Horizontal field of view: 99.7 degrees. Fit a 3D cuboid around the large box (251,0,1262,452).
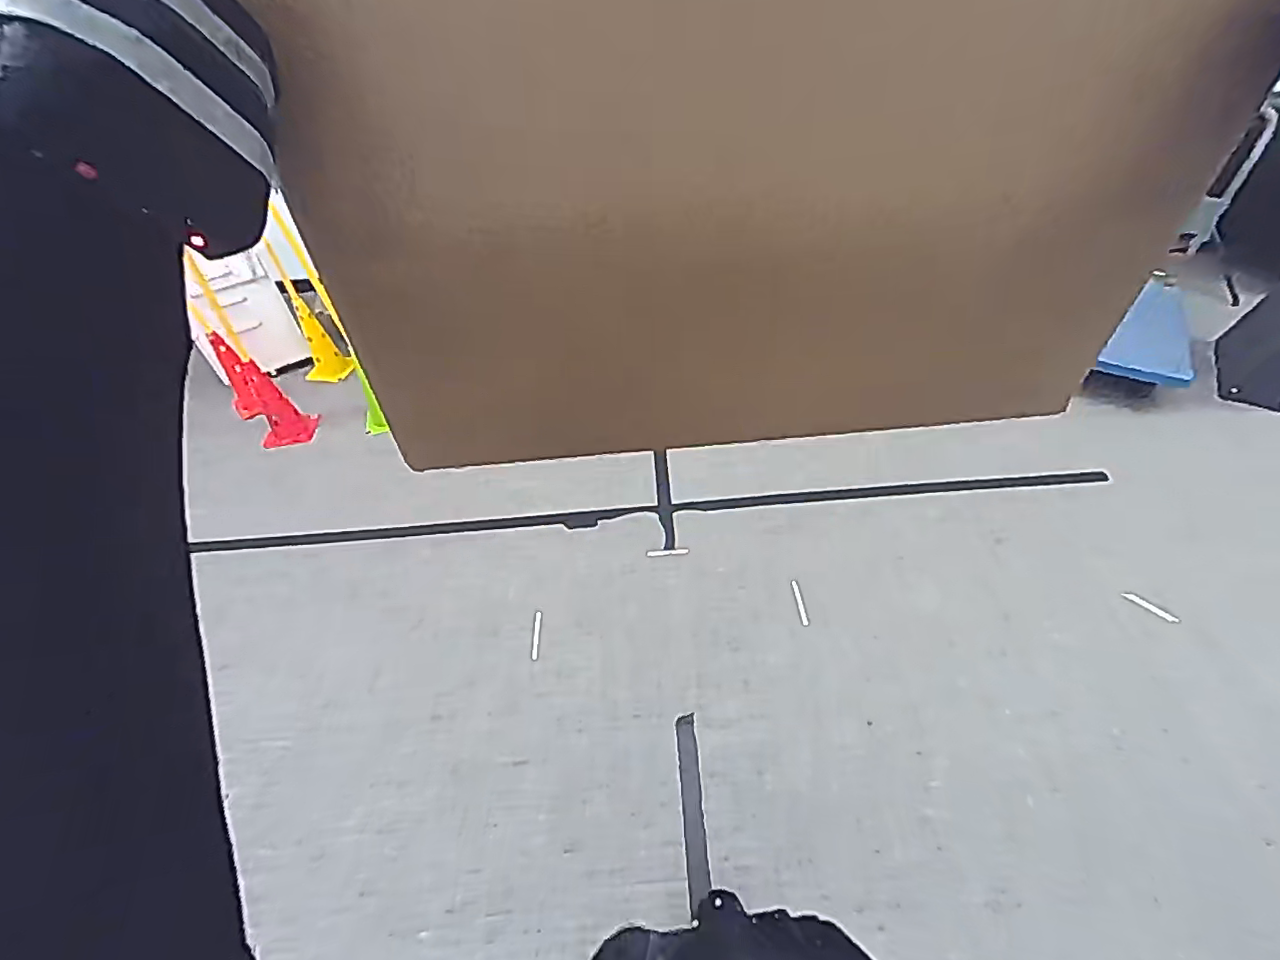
[{"bbox_3d":[0.042,-0.243,0.344,0.408,0.320,0.320,-5,45,-4],"label":"large box"}]
